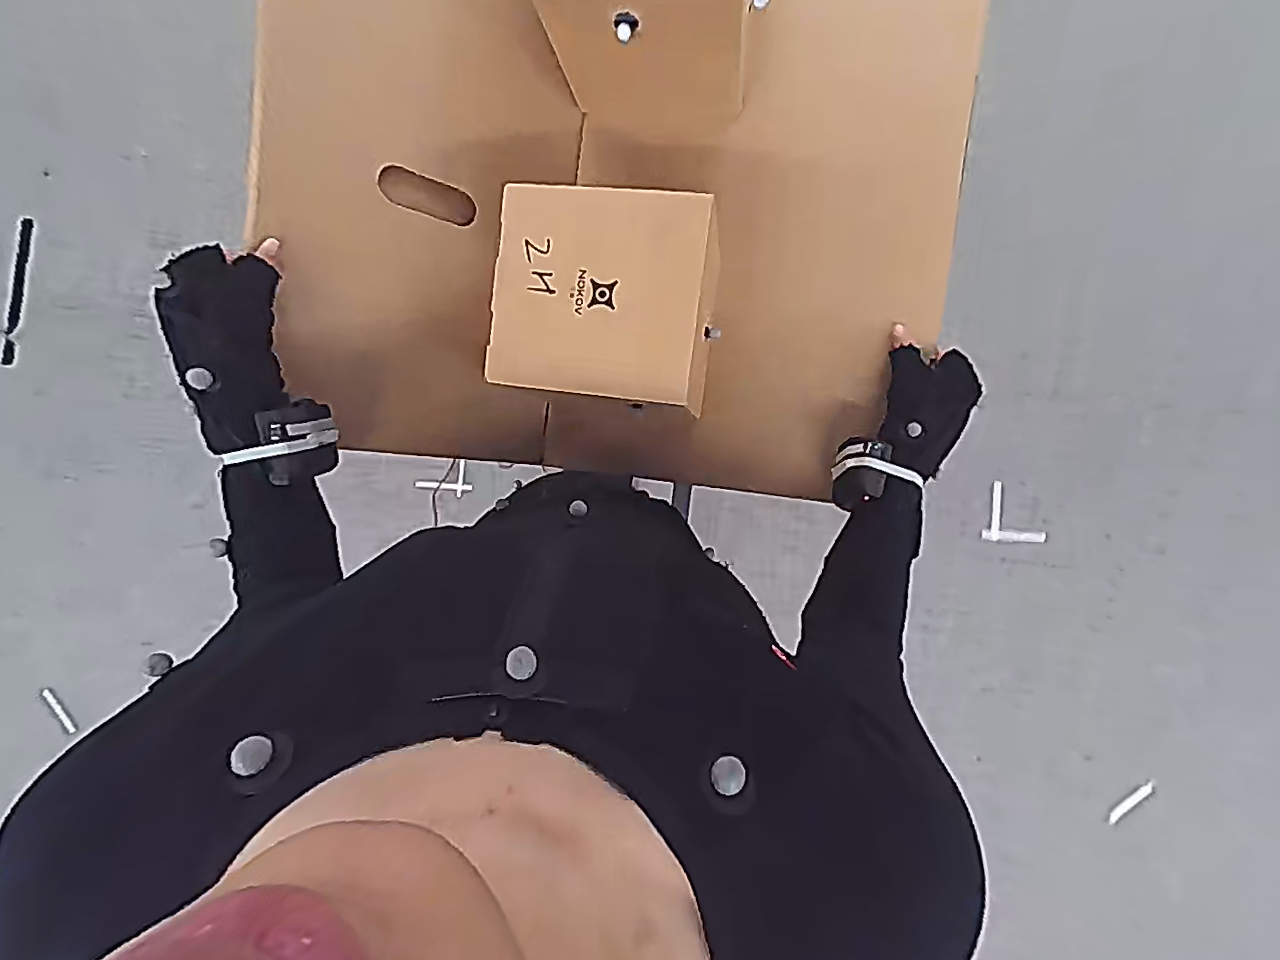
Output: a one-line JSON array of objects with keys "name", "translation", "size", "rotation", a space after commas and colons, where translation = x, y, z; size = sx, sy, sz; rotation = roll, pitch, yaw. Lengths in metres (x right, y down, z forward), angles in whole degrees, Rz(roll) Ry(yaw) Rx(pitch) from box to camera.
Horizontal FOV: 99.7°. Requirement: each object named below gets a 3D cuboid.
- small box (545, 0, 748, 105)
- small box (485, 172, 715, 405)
[{"name": "small box", "translation": [0.011, -0.485, 0.505], "size": [0.179, 0.176, 0.168], "rotation": [7, 93, 9]}, {"name": "small box", "translation": [-0.025, -0.169, 0.524], "size": [0.179, 0.176, 0.168], "rotation": [9, 94, 10]}]
